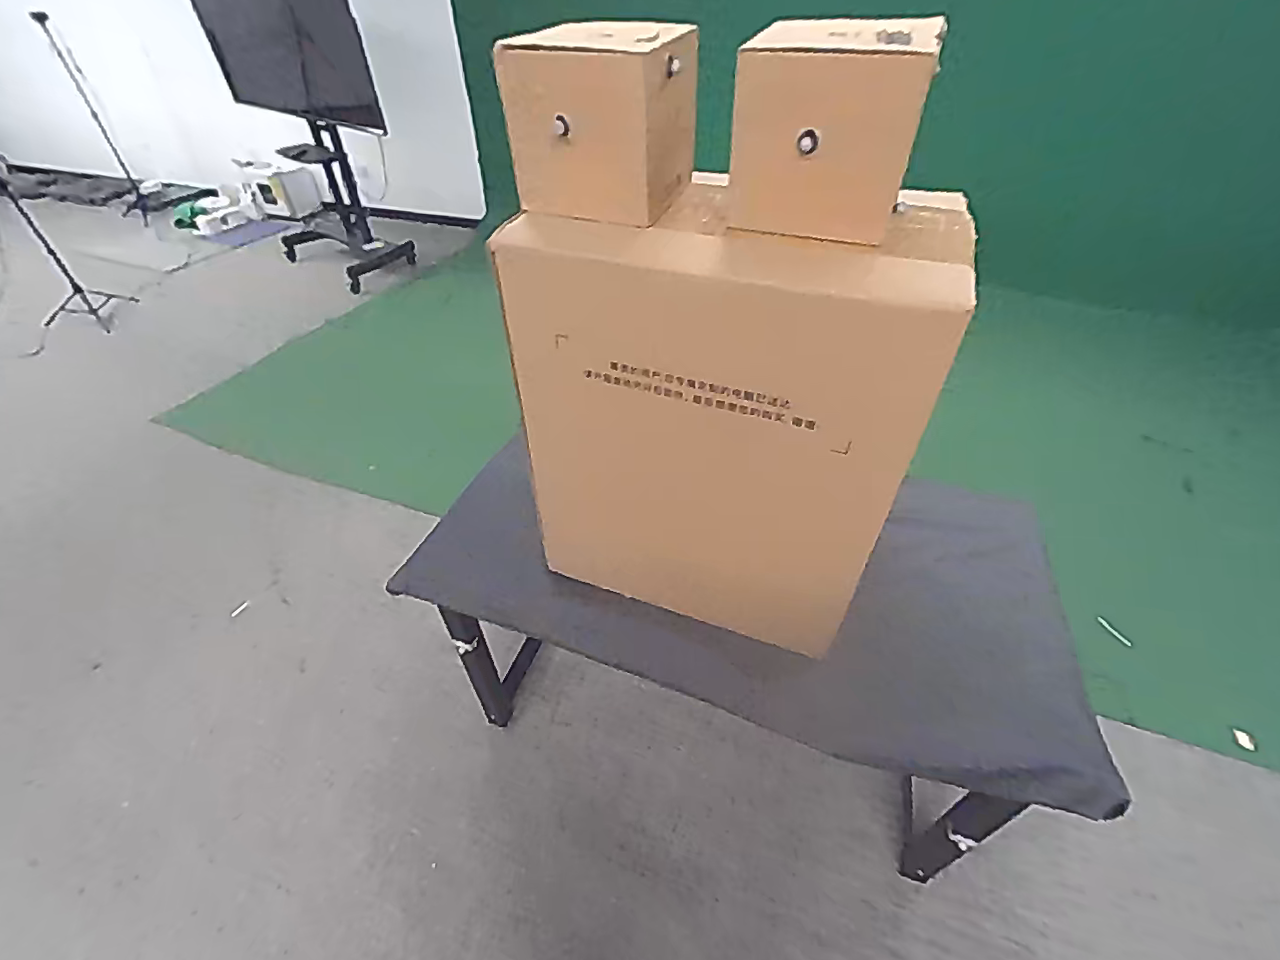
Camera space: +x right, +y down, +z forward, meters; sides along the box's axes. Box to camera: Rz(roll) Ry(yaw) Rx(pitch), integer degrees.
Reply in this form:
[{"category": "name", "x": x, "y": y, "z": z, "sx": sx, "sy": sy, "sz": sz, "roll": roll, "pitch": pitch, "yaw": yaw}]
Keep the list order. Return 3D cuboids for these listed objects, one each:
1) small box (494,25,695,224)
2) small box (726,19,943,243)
[{"category": "small box", "x": -0.043, "y": -0.427, "z": 0.652, "sx": 0.179, "sy": 0.176, "sz": 0.168, "roll": 15, "pitch": 50, "yaw": 17}, {"category": "small box", "x": 0.203, "y": -0.379, "z": 0.591, "sx": 0.179, "sy": 0.176, "sz": 0.168, "roll": 16, "pitch": 50, "yaw": 18}]
